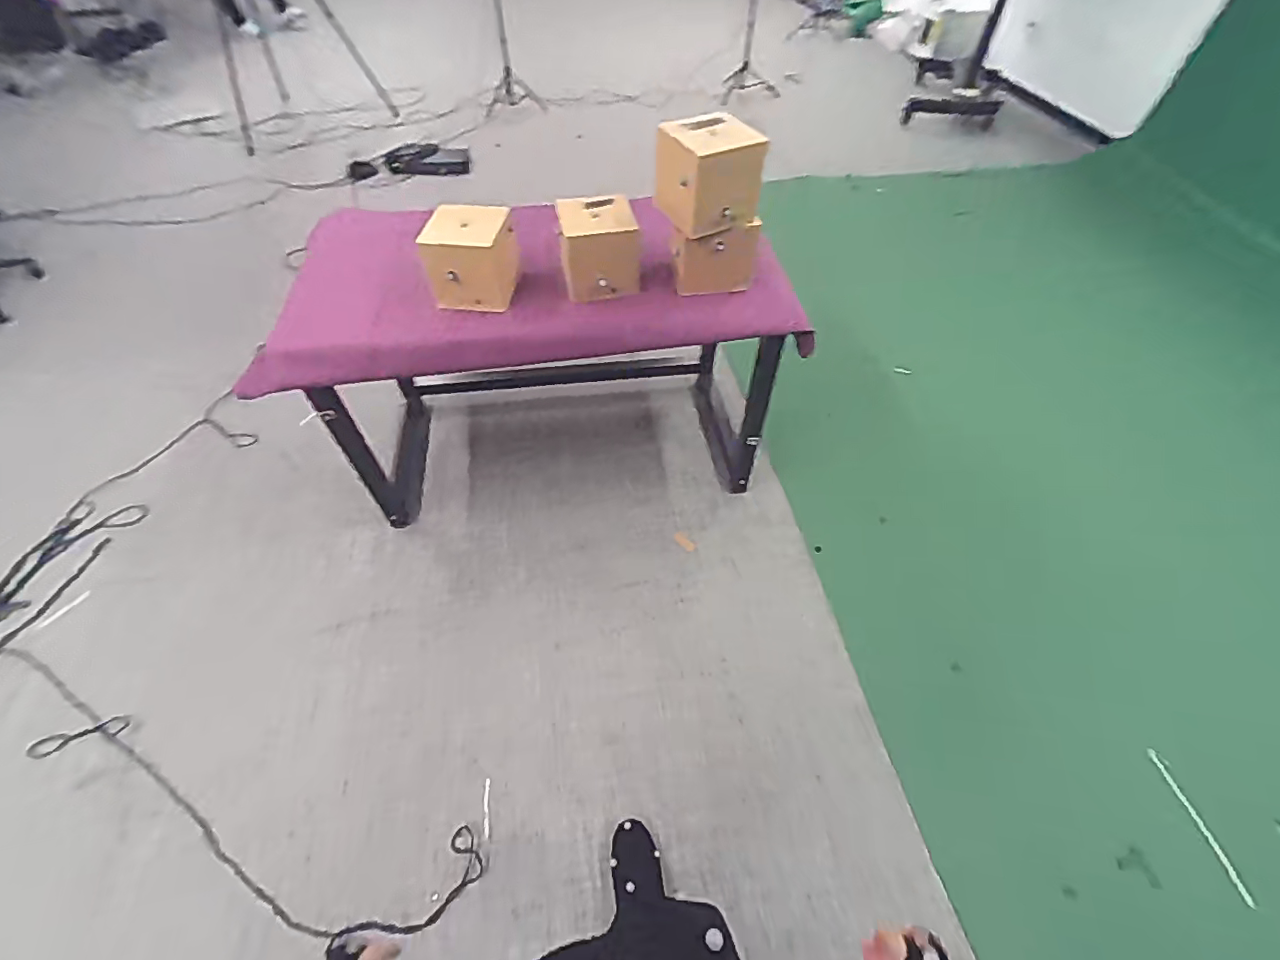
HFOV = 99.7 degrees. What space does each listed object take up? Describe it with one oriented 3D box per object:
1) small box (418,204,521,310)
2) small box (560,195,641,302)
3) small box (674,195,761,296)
[{"bbox_3d":[-0.382,-0.514,1.253,0.168,0.176,0.179,4,51,3],"label":"small box"},{"bbox_3d":[-0.095,-0.549,1.284,0.168,0.176,0.179,-9,53,-8],"label":"small box"},{"bbox_3d":[0.176,-0.559,1.296,0.179,0.176,0.168,-5,52,-4],"label":"small box"}]
